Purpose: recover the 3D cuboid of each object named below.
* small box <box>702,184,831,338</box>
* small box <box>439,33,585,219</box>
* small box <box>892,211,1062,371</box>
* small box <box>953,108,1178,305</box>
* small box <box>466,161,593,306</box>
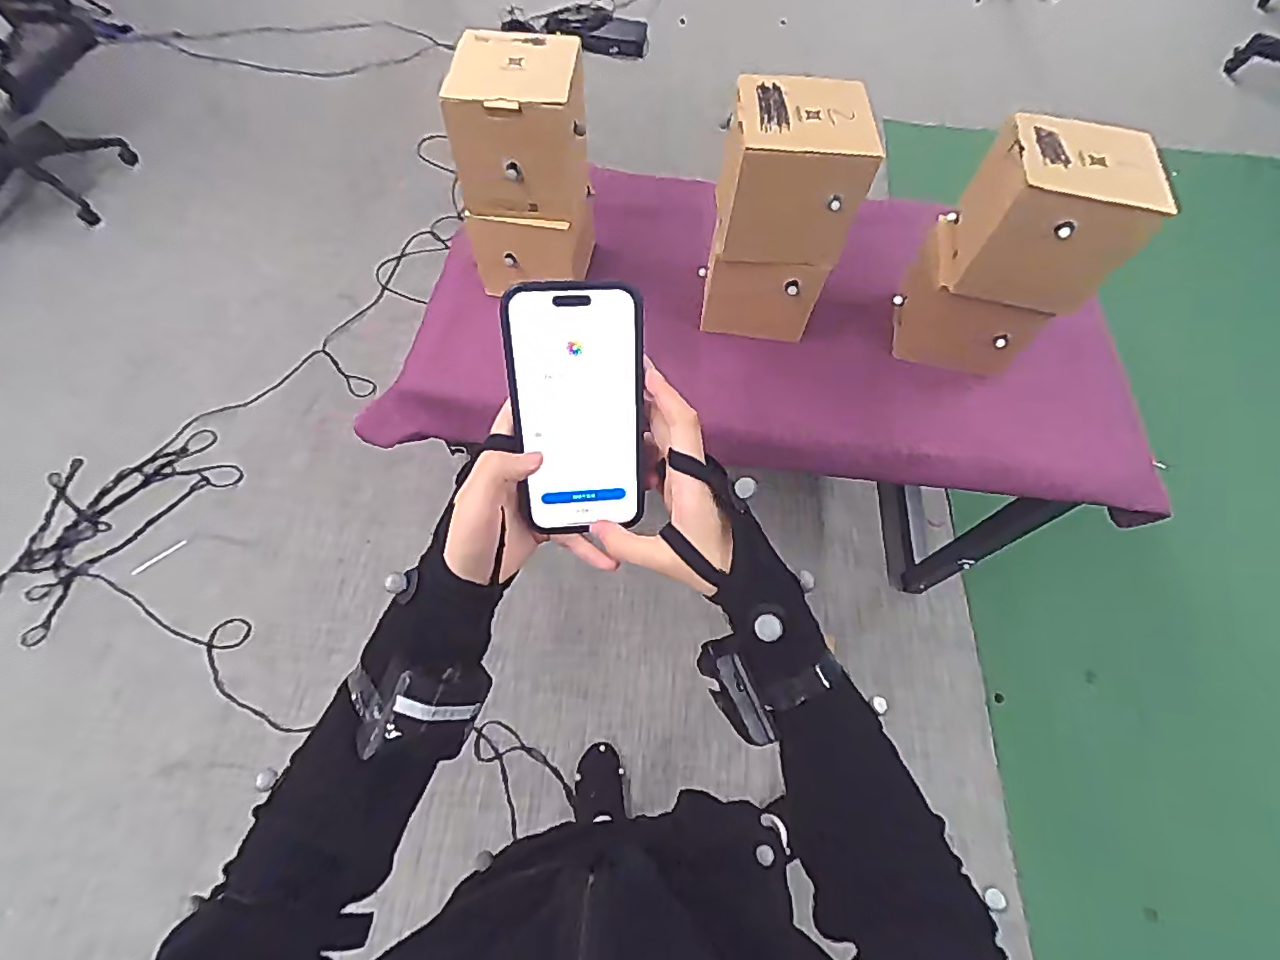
[{"bbox_3d":[0.206,-0.360,0.908,0.179,0.176,0.168,7,62,3],"label":"small box"},{"bbox_3d":[-0.173,-0.512,0.795,0.168,0.176,0.179,4,63,0],"label":"small box"},{"bbox_3d":[0.541,-0.303,0.888,0.179,0.176,0.168,13,62,6],"label":"small box"},{"bbox_3d":[0.551,-0.364,0.736,0.179,0.176,0.168,13,62,5],"label":"small box"},{"bbox_3d":[-0.178,-0.428,0.937,0.168,0.176,0.179,8,62,3],"label":"small box"}]
